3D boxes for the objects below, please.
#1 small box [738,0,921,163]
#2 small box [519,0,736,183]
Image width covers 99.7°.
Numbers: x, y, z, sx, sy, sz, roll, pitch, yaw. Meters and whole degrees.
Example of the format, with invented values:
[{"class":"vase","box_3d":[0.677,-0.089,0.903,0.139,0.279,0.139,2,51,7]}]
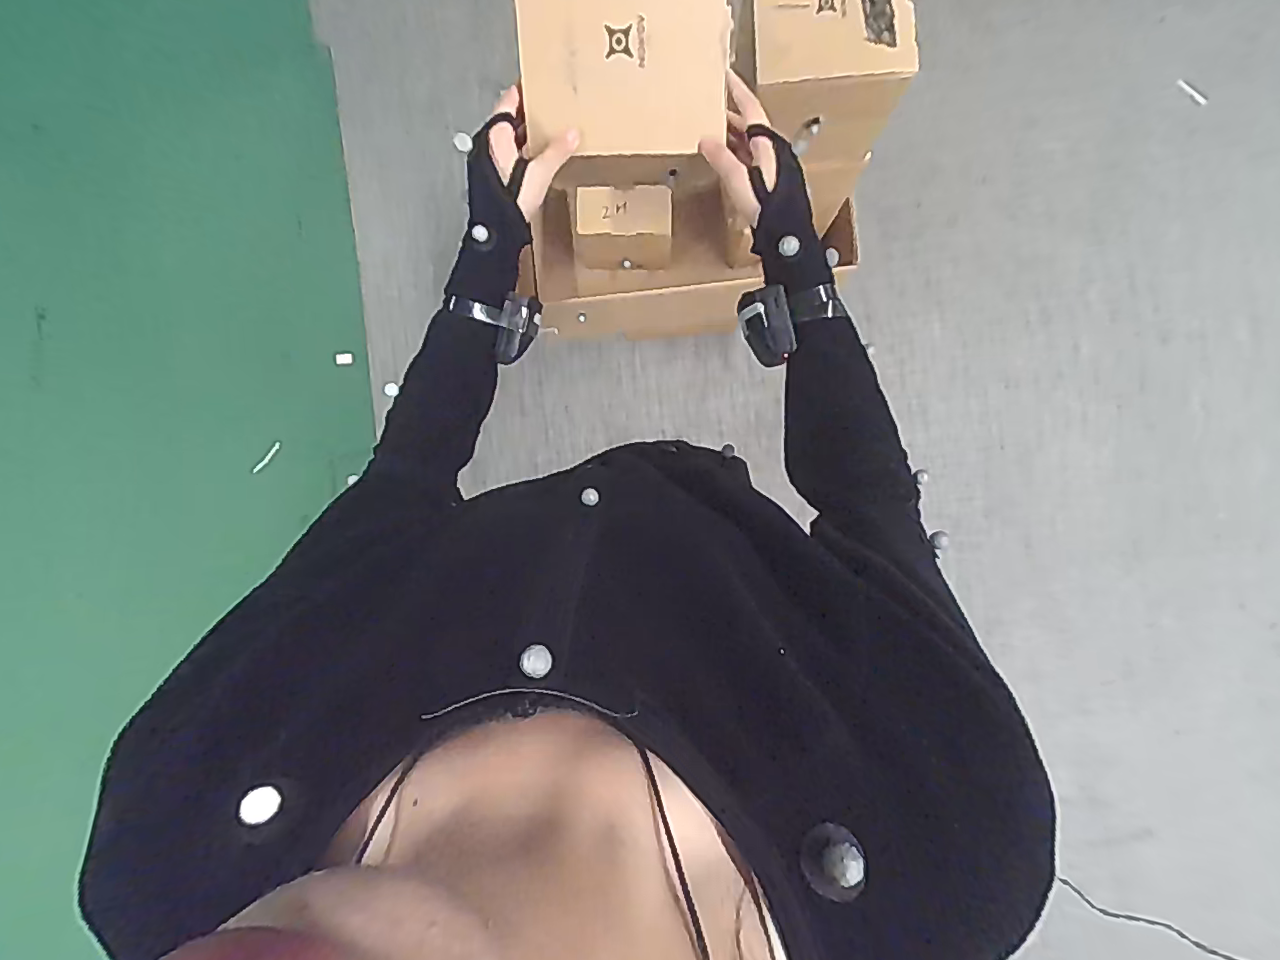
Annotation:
[{"class":"small box","box_3d":[0.217,-0.518,0.661,0.179,0.176,0.168,-2,91,5]},{"class":"small box","box_3d":[-0.012,-0.389,0.513,0.179,0.176,0.168,-1,110,0]}]
